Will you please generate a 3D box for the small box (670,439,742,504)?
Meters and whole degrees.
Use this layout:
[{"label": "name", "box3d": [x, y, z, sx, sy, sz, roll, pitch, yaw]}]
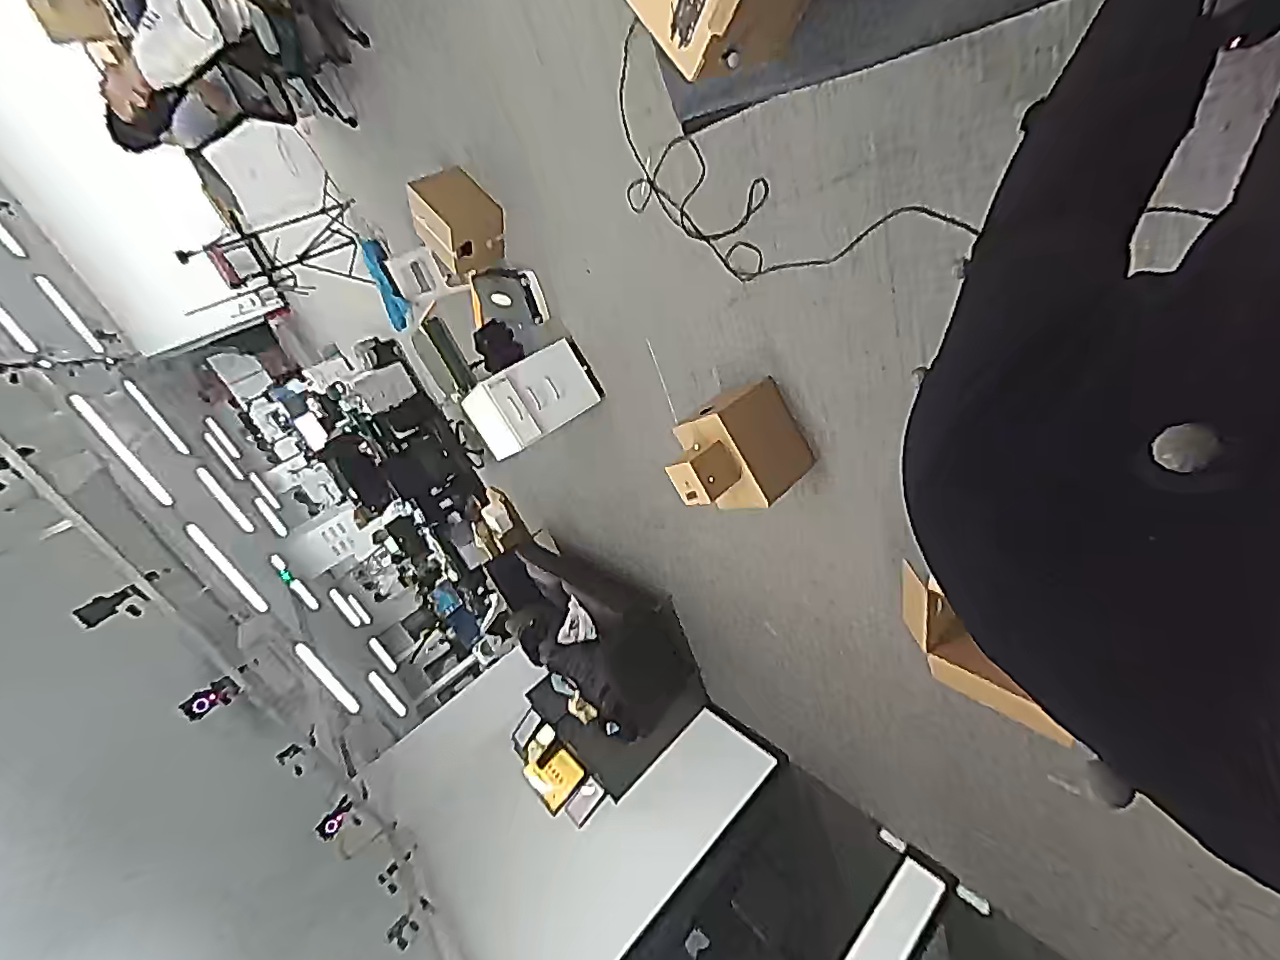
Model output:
[{"label": "small box", "box3d": [0.253, -0.030, 2.031, 0.179, 0.176, 0.168, 60, 152, -11]}]
